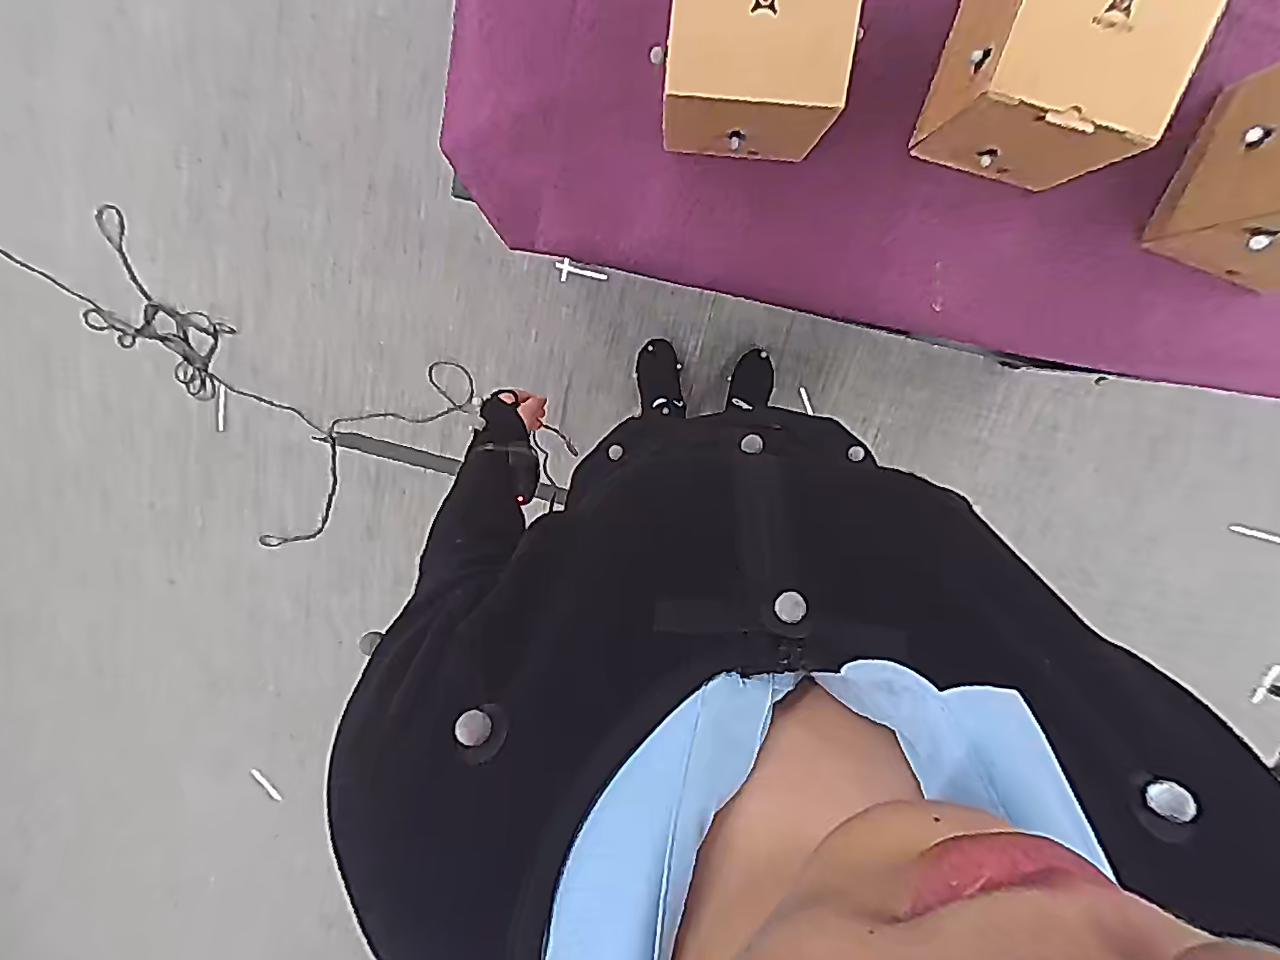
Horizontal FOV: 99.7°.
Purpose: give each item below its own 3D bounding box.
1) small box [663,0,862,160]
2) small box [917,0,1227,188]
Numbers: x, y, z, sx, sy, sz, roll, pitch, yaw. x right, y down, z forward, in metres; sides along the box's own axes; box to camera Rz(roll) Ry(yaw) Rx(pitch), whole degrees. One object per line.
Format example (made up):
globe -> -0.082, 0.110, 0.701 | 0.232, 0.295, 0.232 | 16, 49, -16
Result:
small box -> 0.115, -0.445, 0.544 | 0.168, 0.176, 0.179 | 6, 105, 1
small box -> 0.412, -0.423, 0.539 | 0.168, 0.176, 0.179 | 15, 106, -1
